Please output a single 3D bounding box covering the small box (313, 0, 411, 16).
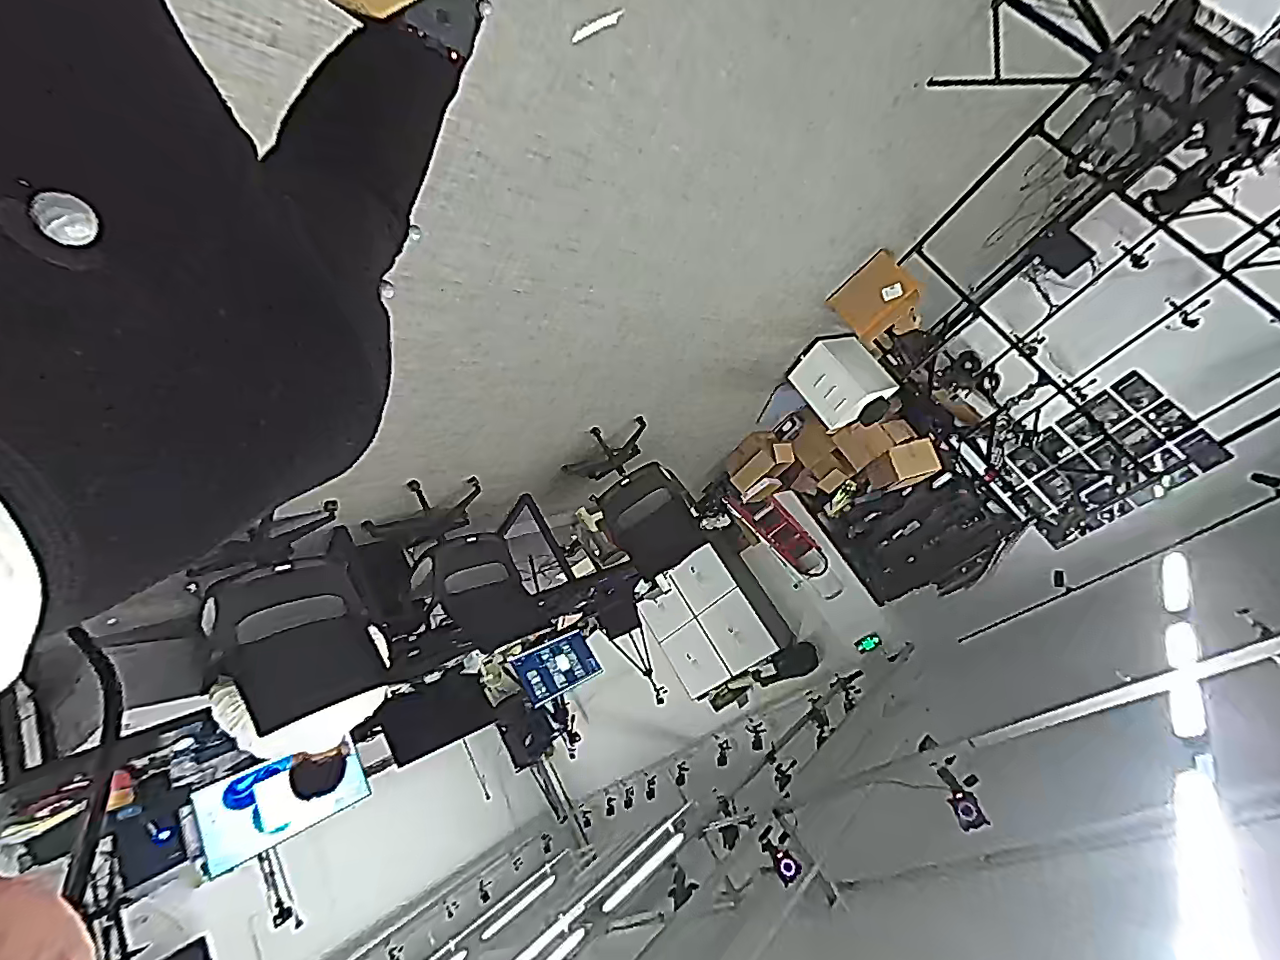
[{"bbox_3d":[-0.202,-0.421,0.314,0.179,0.176,0.168,3,104,-49],"label":"small box"}]
